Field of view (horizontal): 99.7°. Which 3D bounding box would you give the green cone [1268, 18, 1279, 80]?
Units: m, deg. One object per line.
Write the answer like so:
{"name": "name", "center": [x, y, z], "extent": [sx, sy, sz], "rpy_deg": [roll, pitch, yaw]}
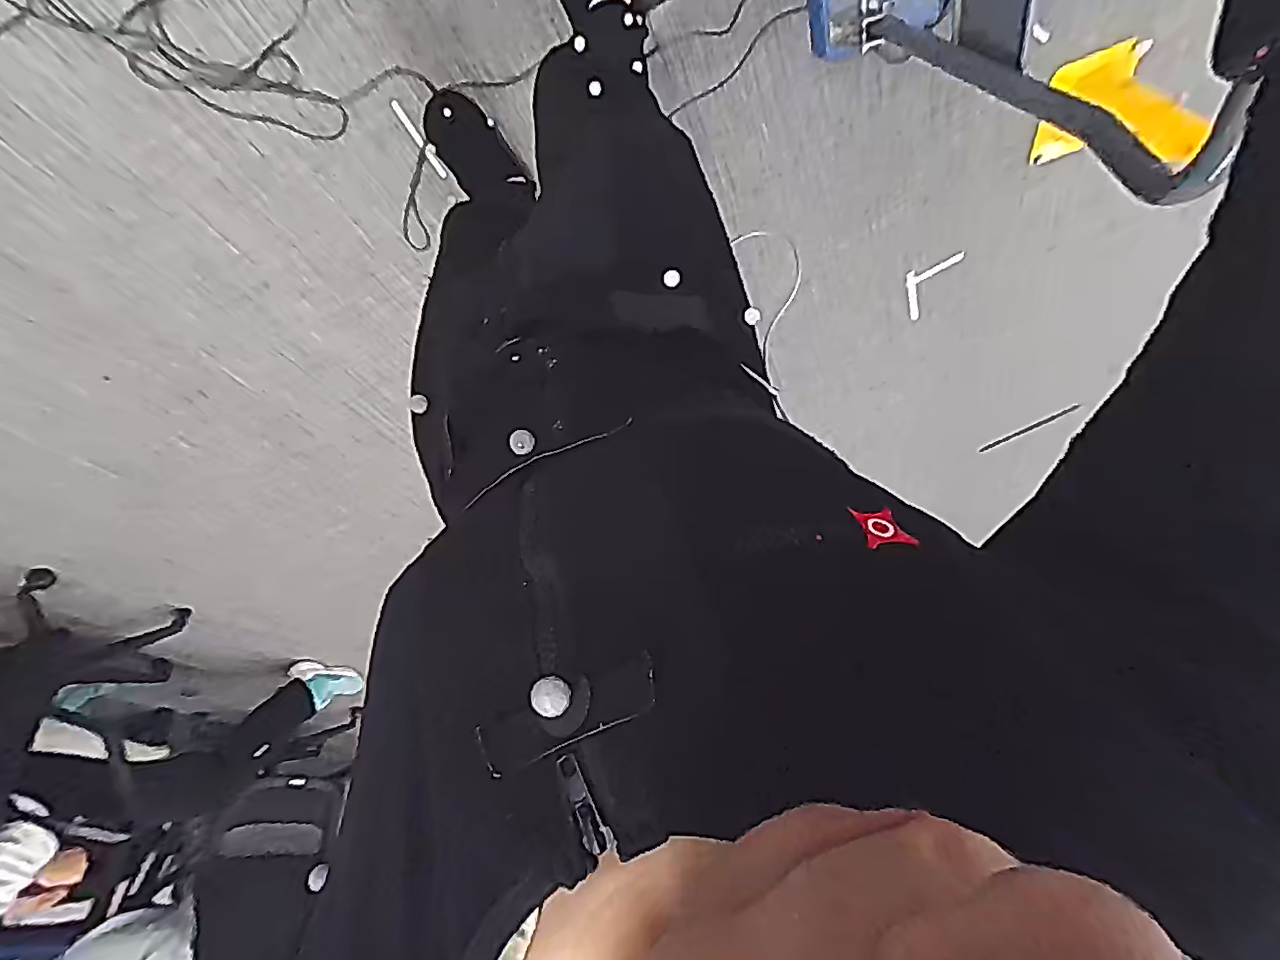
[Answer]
{"name": "green cone", "center": [1.515, -0.889, 1.048], "extent": [0.202, 0.368, 0.200], "rpy_deg": [-34, 136, 21]}
